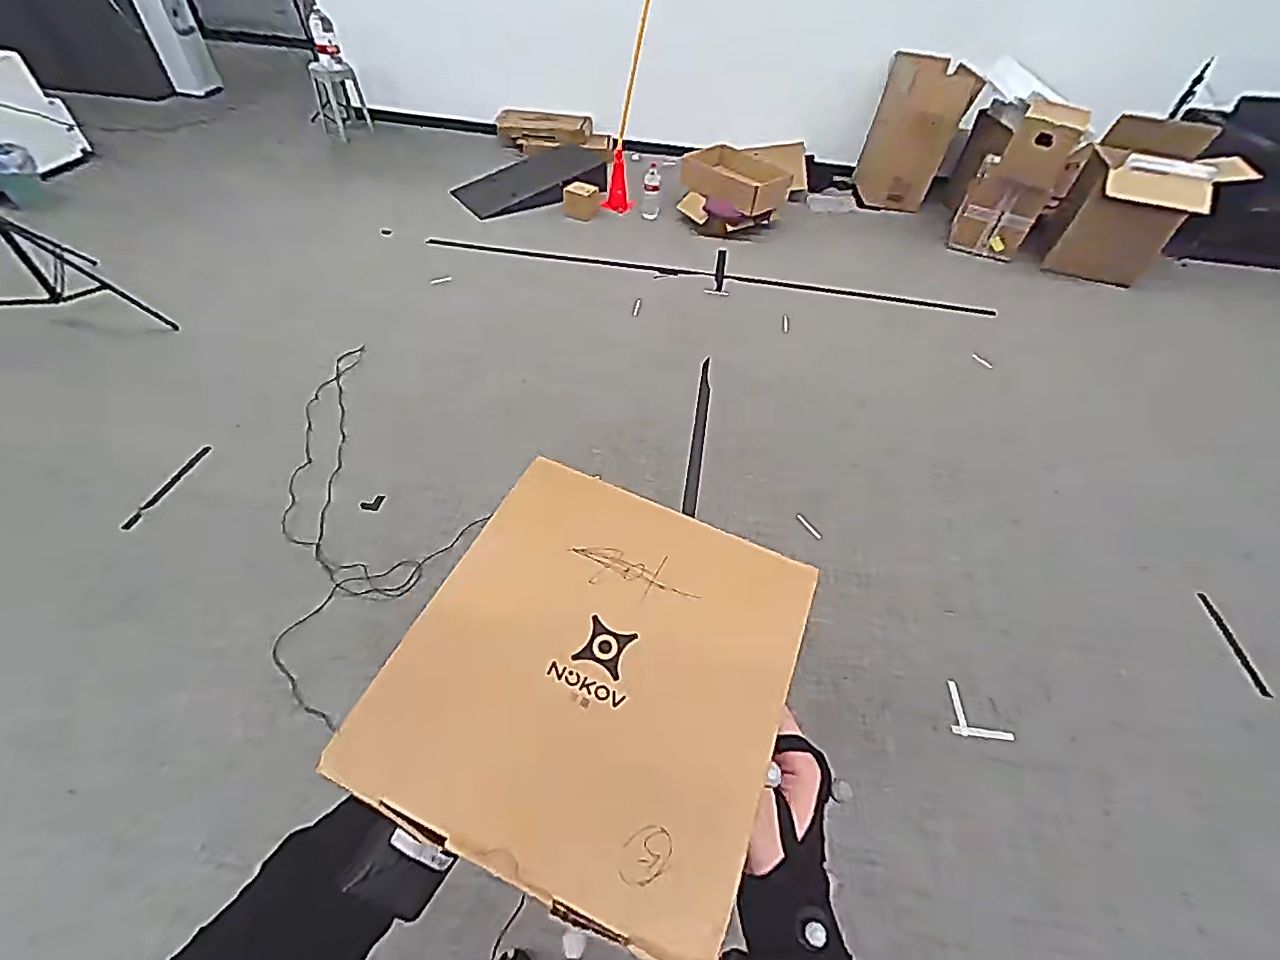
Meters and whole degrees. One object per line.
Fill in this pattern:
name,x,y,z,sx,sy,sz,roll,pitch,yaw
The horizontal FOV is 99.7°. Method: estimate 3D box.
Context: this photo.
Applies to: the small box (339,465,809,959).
small box,-0.024,0.129,0.318,0.168,0.176,0.179,22,54,9
